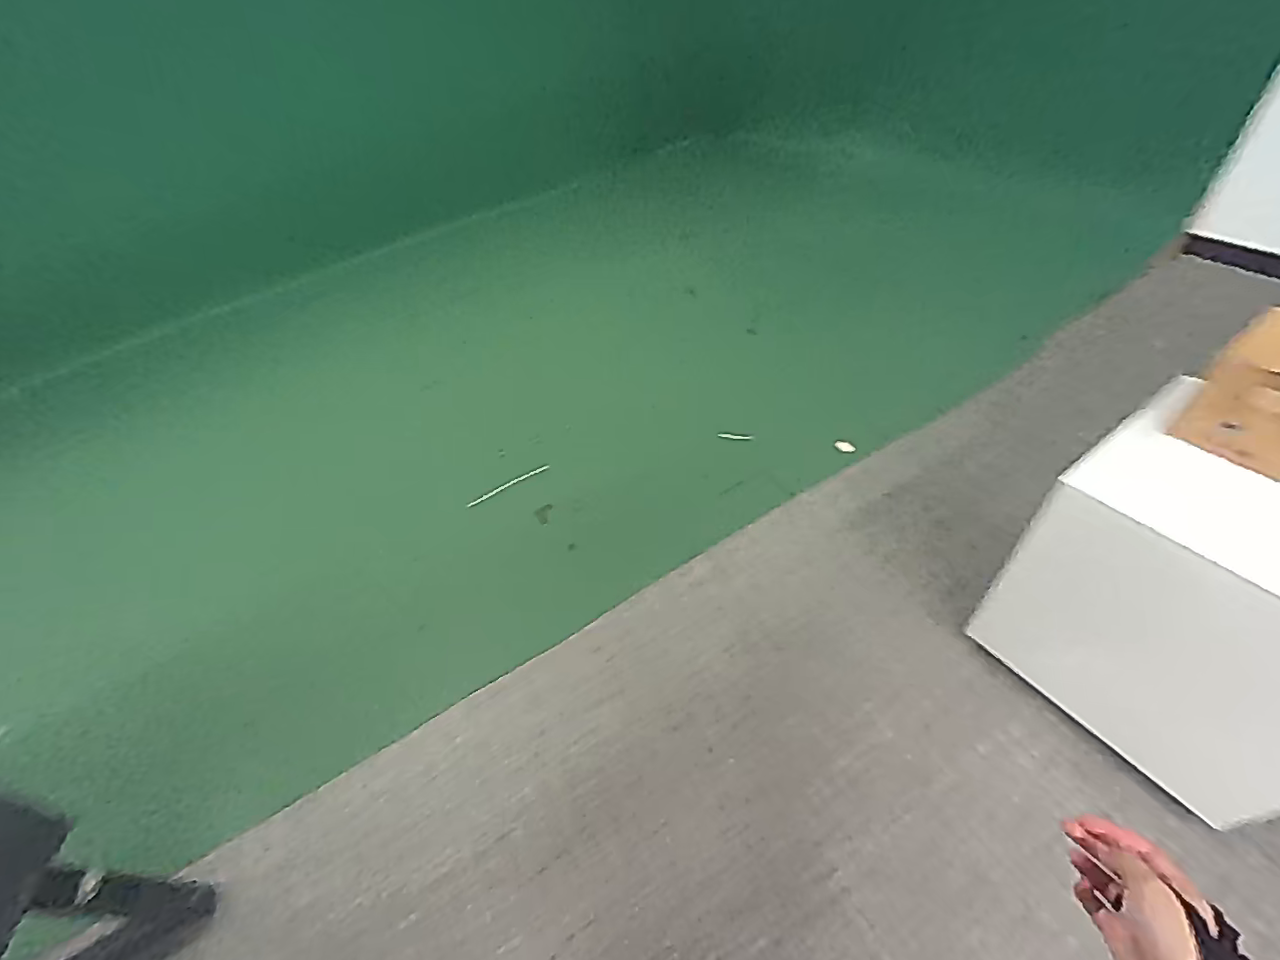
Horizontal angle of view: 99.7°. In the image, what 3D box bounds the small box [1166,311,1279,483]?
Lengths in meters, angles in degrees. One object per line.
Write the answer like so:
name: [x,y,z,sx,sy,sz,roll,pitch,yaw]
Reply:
small box: [1.001,-0.131,0.854,0.179,0.176,0.168,-33,51,-16]
